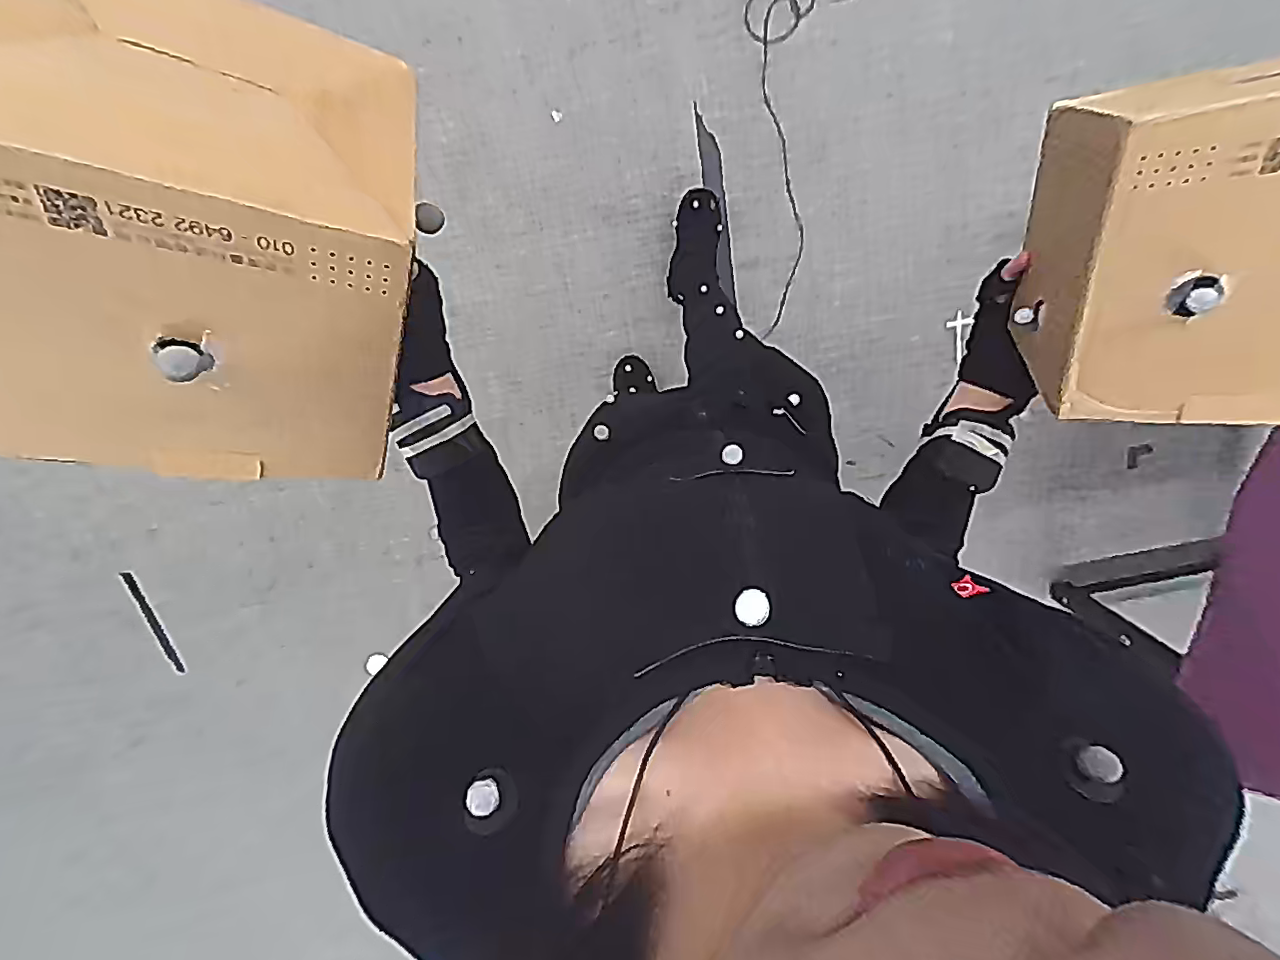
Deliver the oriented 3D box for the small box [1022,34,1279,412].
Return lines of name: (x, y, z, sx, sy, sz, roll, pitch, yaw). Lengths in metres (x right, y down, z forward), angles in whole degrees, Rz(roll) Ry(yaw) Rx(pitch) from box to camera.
small box: (0.352, -0.153, 0.316, 0.168, 0.179, 0.176, 4, 126, 22)

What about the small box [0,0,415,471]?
small box: (-0.209, -0.127, 0.264, 0.168, 0.179, 0.176, 5, 141, -27)
